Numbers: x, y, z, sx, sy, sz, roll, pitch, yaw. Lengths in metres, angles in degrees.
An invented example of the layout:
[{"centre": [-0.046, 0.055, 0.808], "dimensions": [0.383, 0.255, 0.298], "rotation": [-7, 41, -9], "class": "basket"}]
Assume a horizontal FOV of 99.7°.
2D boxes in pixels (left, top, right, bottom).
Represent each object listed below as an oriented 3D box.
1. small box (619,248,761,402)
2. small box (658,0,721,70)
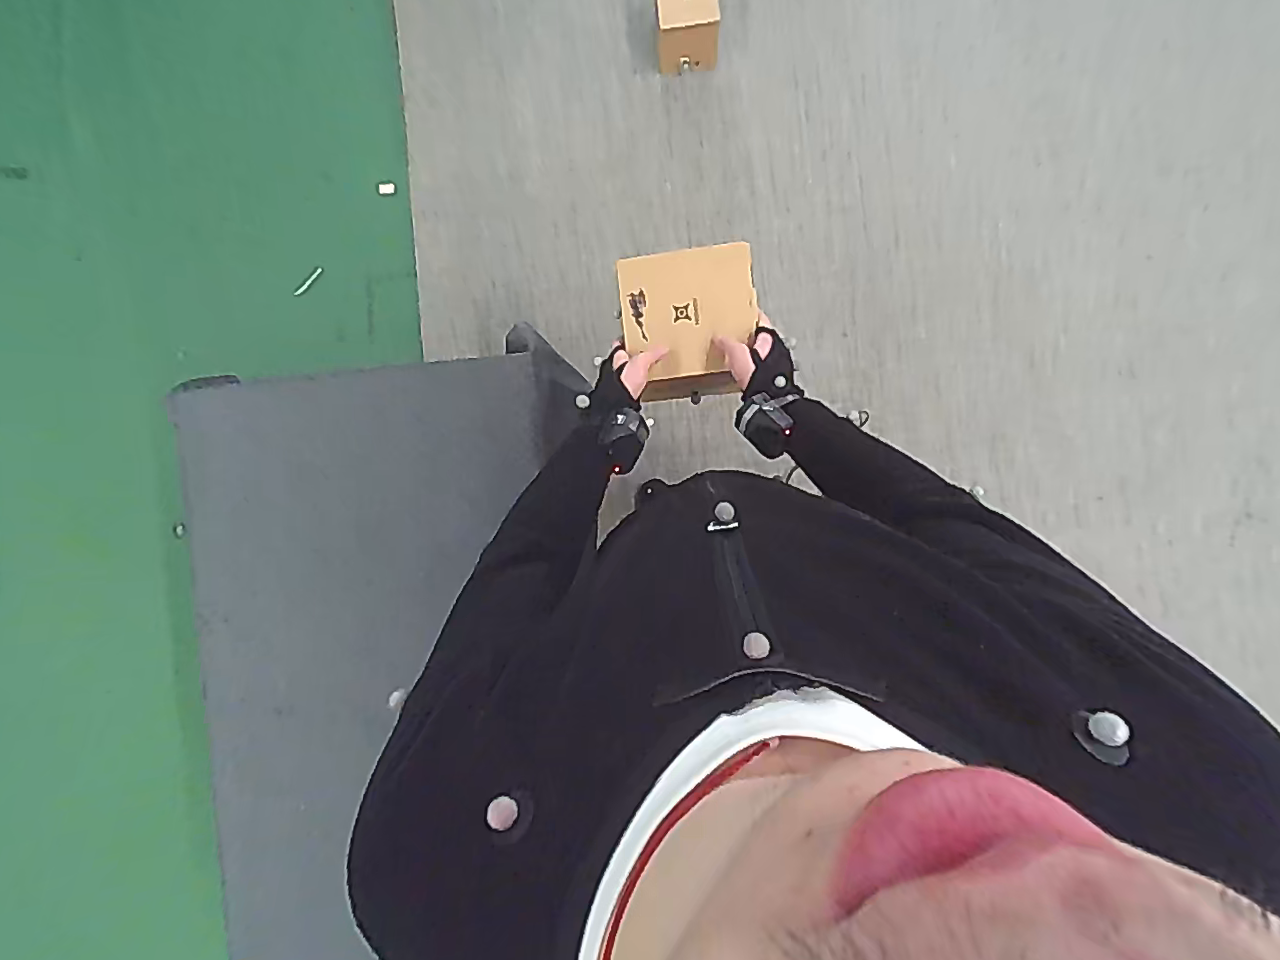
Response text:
[{"centre": [0.068, -0.212, 0.781], "dimensions": [0.179, 0.176, 0.168], "rotation": [-5, 88, 4], "class": "small box"}, {"centre": [0.134, -1.288, 1.496], "dimensions": [0.168, 0.176, 0.179], "rotation": [-3, 90, 5], "class": "small box"}]
